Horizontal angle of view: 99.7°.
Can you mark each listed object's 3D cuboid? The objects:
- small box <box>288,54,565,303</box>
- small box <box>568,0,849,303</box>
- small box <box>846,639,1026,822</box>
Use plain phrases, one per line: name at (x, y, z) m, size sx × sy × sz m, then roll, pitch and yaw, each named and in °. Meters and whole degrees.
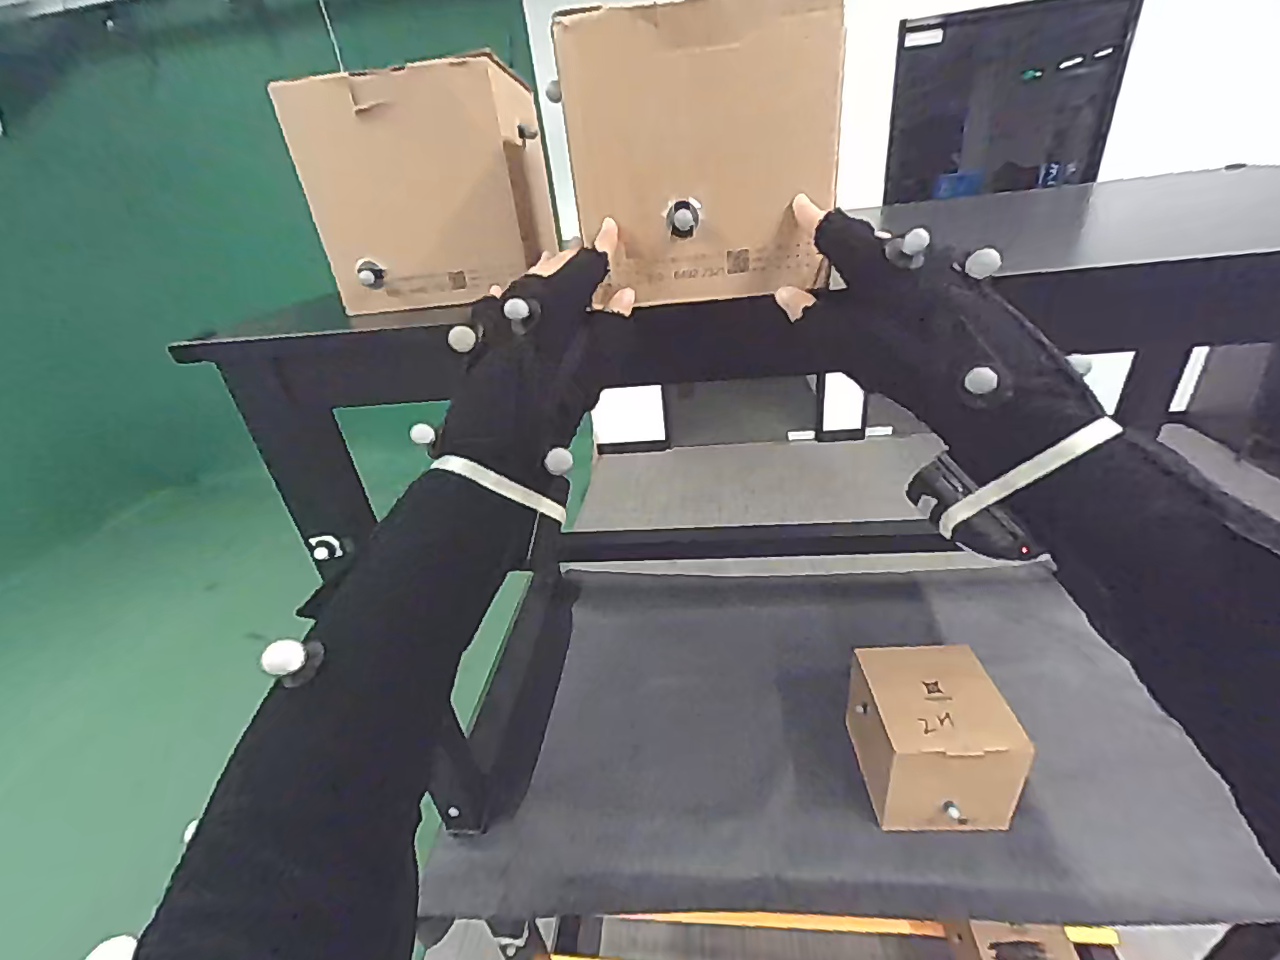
small box at (-0.170, -0.265, 0.504) m, size 0.168 × 0.176 × 0.179 m, roll -4°, pitch 28°, yaw 3°
small box at (0.049, -0.241, 0.421) m, size 0.168 × 0.176 × 0.179 m, roll -4°, pitch 29°, yaw 5°
small box at (0.406, 0.355, 0.780) m, size 0.168 × 0.176 × 0.179 m, roll -4°, pitch 28°, yaw 6°
